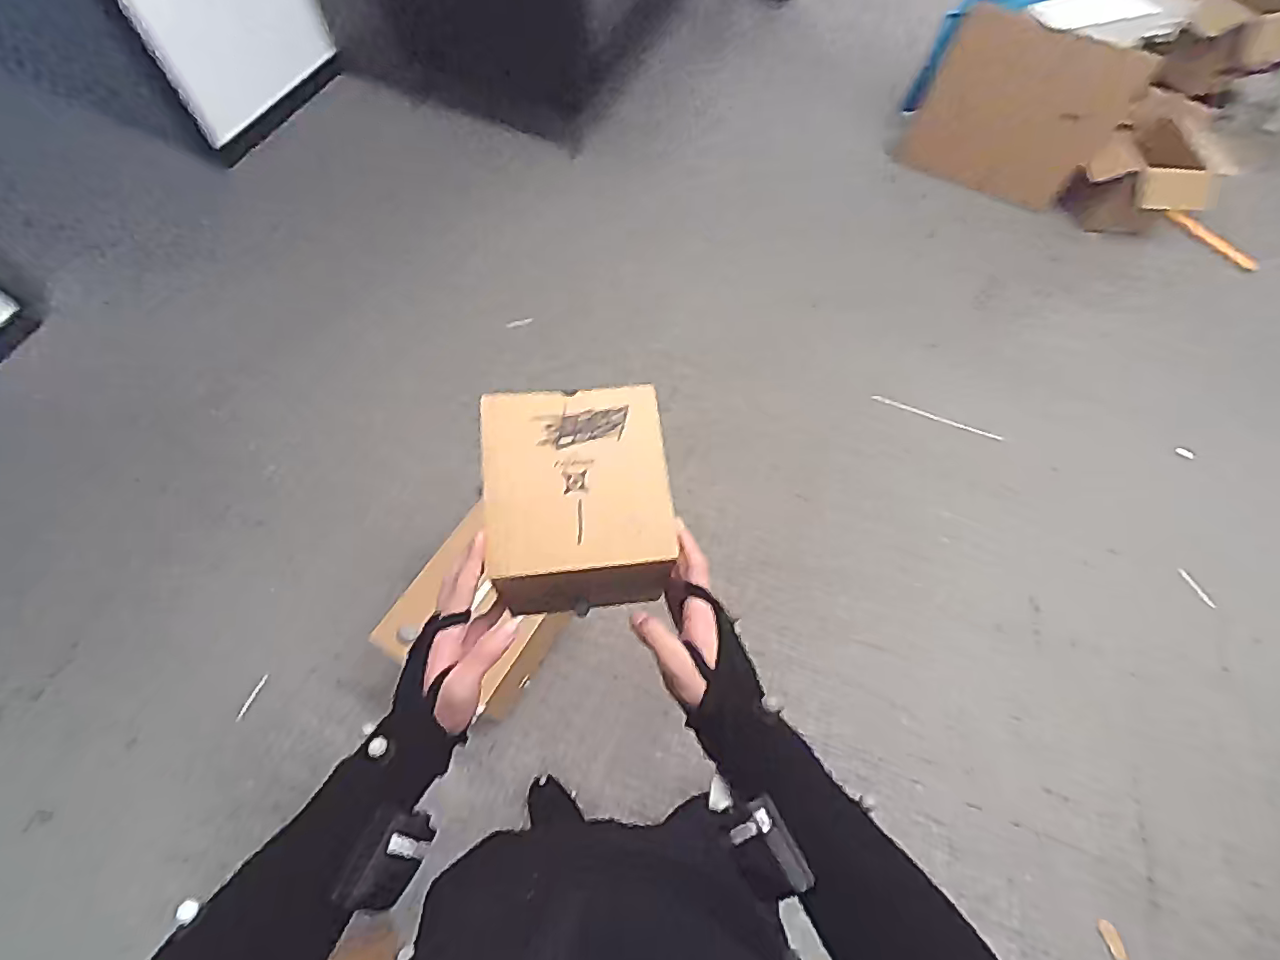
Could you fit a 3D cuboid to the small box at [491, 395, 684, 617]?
[{"bbox_3d":[-0.058,0.033,0.560,0.168,0.176,0.179,-4,66,-7],"label":"small box"}]
